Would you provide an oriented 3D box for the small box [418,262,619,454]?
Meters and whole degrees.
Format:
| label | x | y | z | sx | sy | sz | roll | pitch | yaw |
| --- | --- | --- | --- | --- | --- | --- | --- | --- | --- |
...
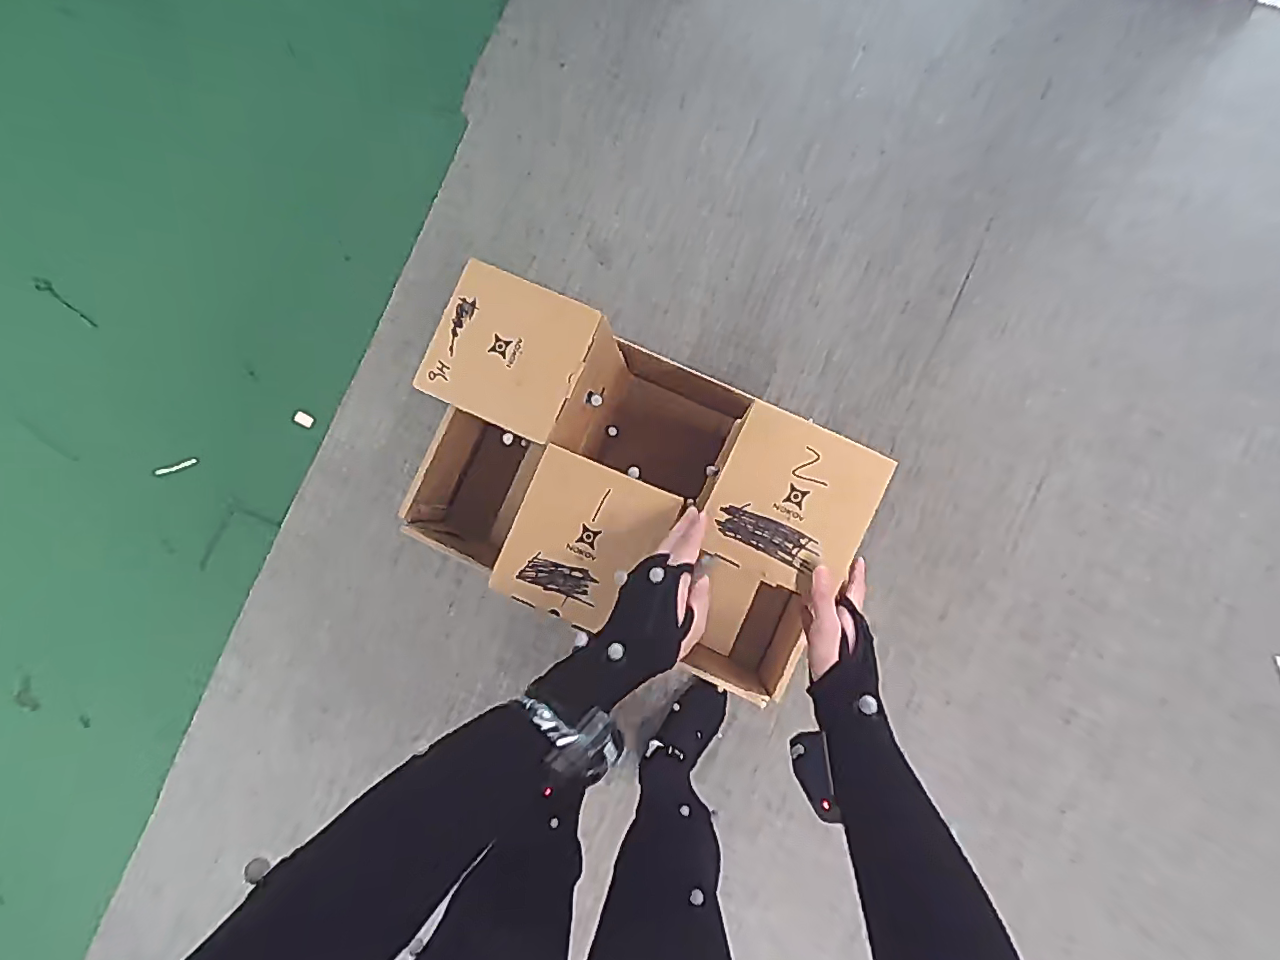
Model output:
| label | x | y | z | sx | sy | sz | roll | pitch | yaw |
| --- | --- | --- | --- | --- | --- | --- | --- | --- | --- |
| small box | -0.139 | -0.141 | 0.693 | 0.179 | 0.176 | 0.168 | 25 | 89 | 5 |
